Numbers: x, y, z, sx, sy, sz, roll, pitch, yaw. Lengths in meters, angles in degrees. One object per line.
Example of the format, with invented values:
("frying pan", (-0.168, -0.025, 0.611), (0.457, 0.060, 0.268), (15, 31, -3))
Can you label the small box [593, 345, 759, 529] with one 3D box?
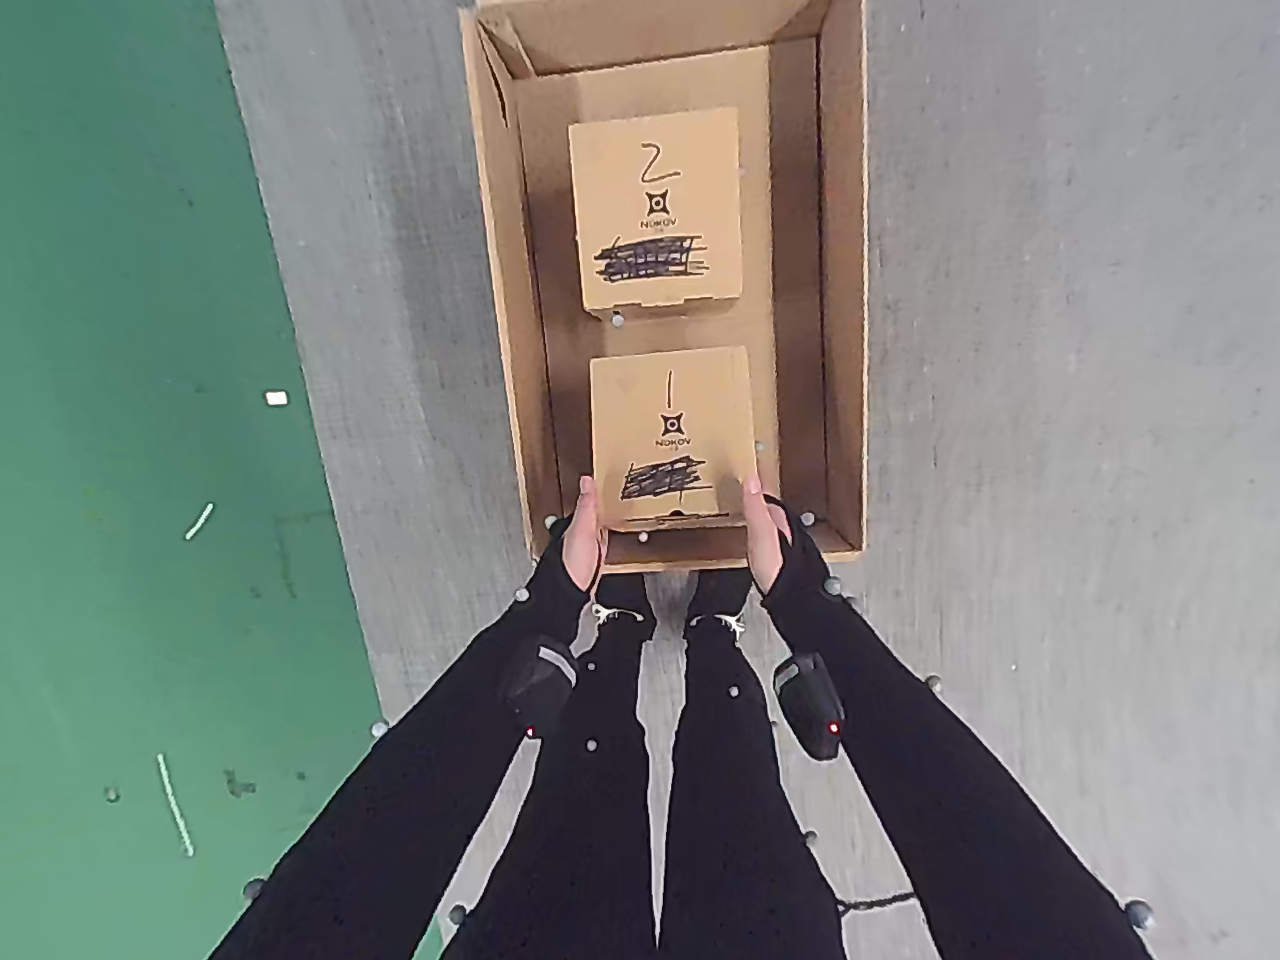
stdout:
("small box", (0.044, -0.036, 0.625), (0.168, 0.176, 0.179), (-4, 79, 6))
